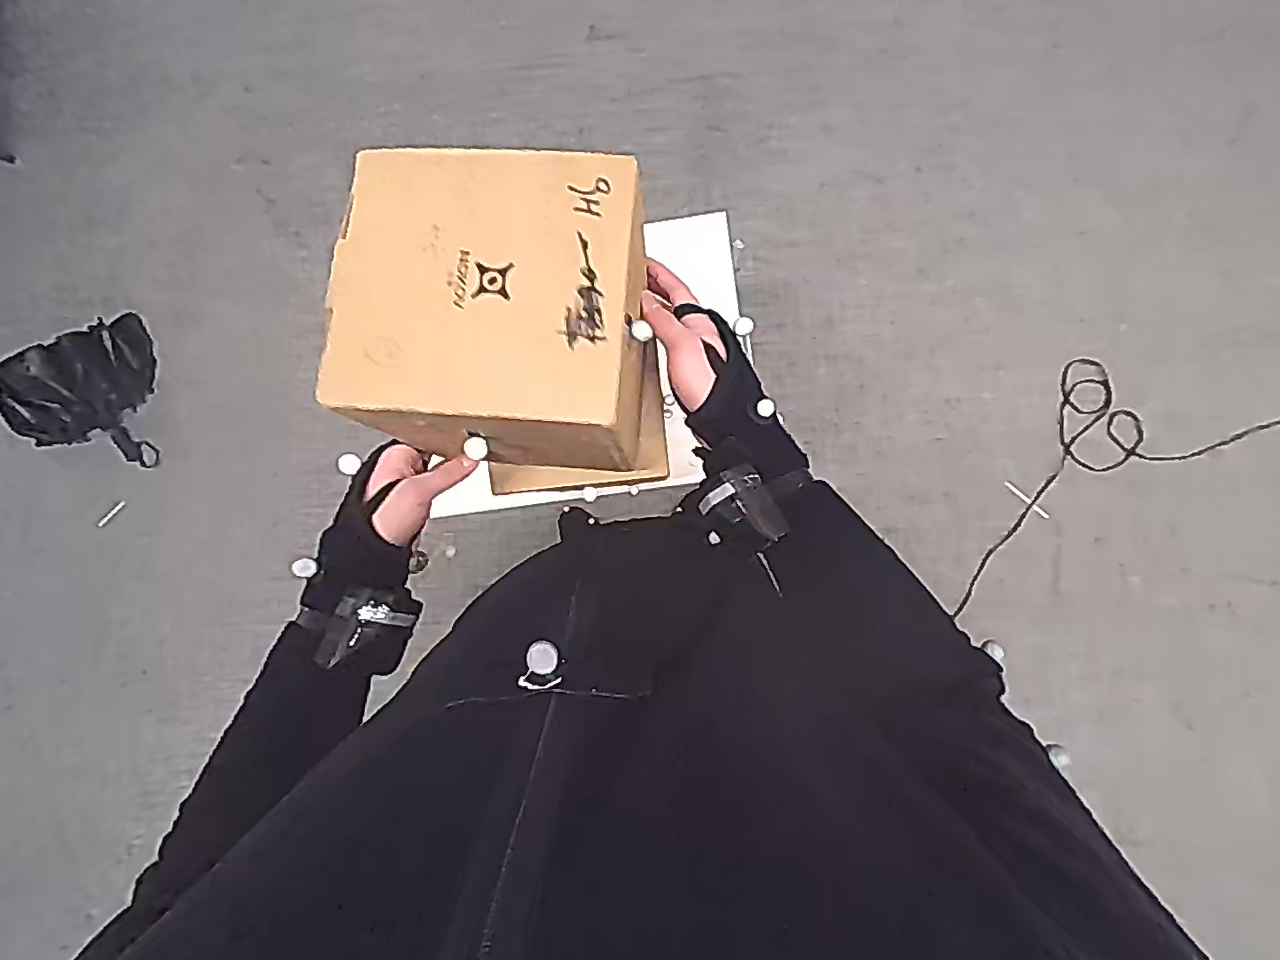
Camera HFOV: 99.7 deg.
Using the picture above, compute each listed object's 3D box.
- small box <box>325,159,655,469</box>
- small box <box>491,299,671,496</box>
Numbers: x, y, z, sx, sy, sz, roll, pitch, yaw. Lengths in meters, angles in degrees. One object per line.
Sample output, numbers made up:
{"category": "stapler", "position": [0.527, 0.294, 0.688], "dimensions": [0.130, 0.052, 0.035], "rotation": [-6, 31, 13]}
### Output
{"category": "small box", "position": [-0.087, -0.105, 0.402], "dimensions": [0.179, 0.176, 0.168], "rotation": [3, 81, 6]}
{"category": "small box", "position": [-0.058, -0.077, 0.576], "dimensions": [0.168, 0.176, 0.179], "rotation": [-6, 90, 2]}
